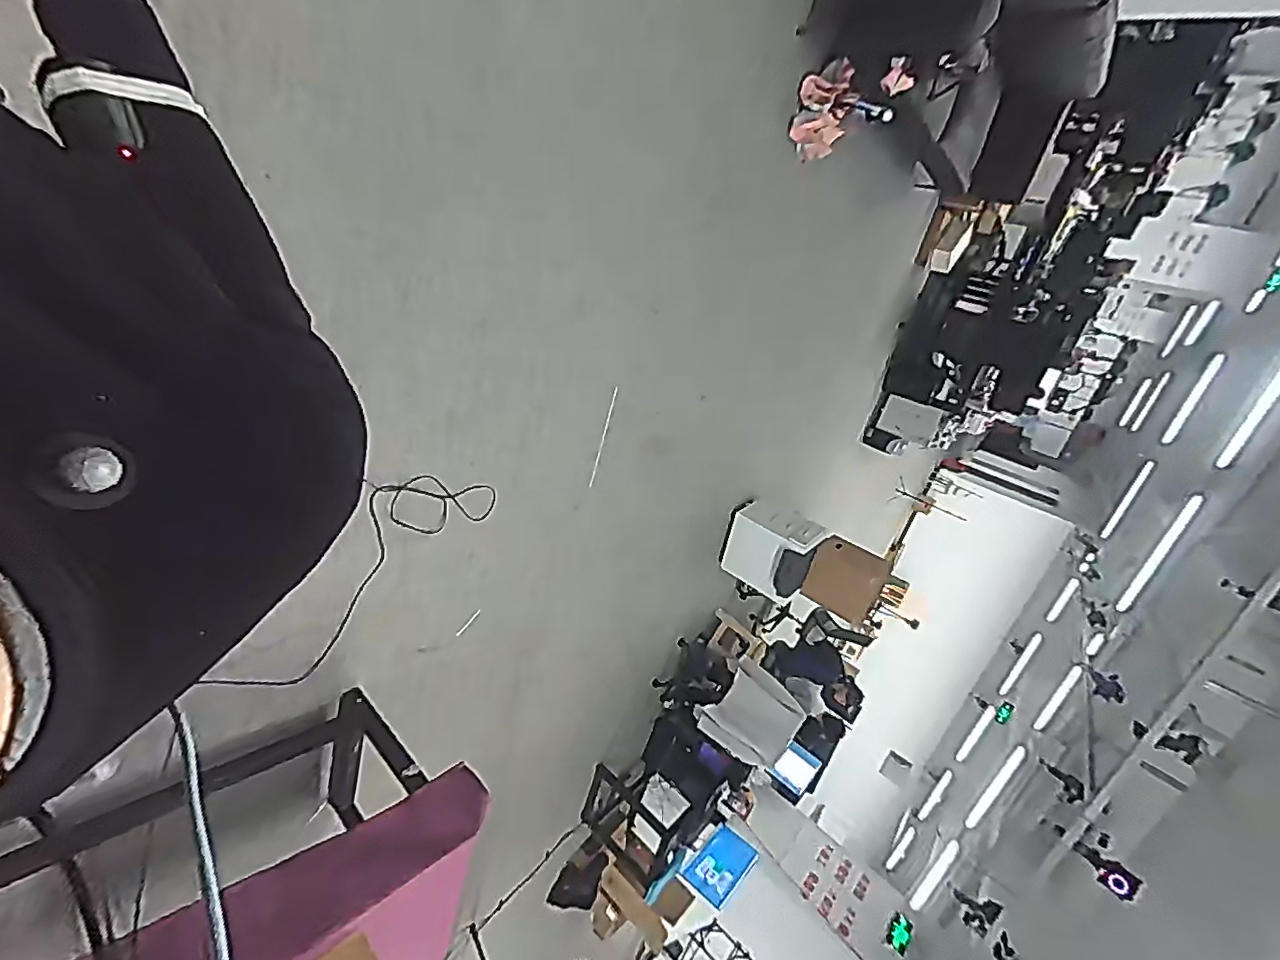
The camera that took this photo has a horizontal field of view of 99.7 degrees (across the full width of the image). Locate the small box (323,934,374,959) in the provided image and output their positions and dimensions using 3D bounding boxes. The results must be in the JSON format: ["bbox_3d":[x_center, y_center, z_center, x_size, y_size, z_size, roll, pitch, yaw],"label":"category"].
[{"bbox_3d":[-0.719,1.249,1.282,0.179,0.176,0.168,-13,125,-50],"label":"small box"}]
